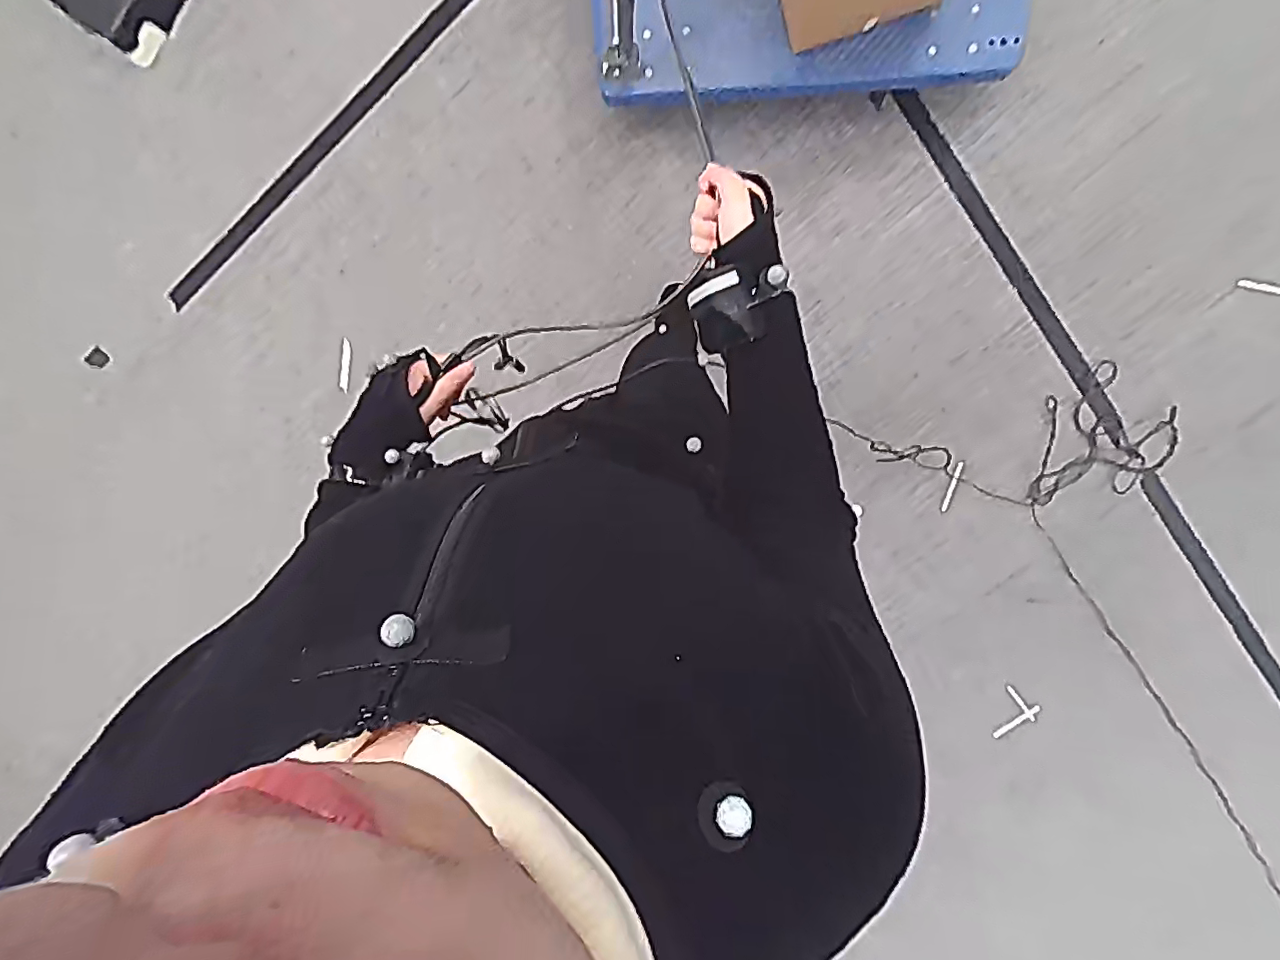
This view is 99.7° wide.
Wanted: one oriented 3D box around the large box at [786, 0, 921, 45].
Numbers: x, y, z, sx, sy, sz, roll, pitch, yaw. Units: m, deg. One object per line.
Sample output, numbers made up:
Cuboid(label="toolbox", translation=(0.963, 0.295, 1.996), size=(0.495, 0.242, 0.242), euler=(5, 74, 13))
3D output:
Cuboid(label="large box", translation=(0.395, -1.074, 0.901), size=(0.320, 0.320, 0.408), euler=(-17, 102, 7))
